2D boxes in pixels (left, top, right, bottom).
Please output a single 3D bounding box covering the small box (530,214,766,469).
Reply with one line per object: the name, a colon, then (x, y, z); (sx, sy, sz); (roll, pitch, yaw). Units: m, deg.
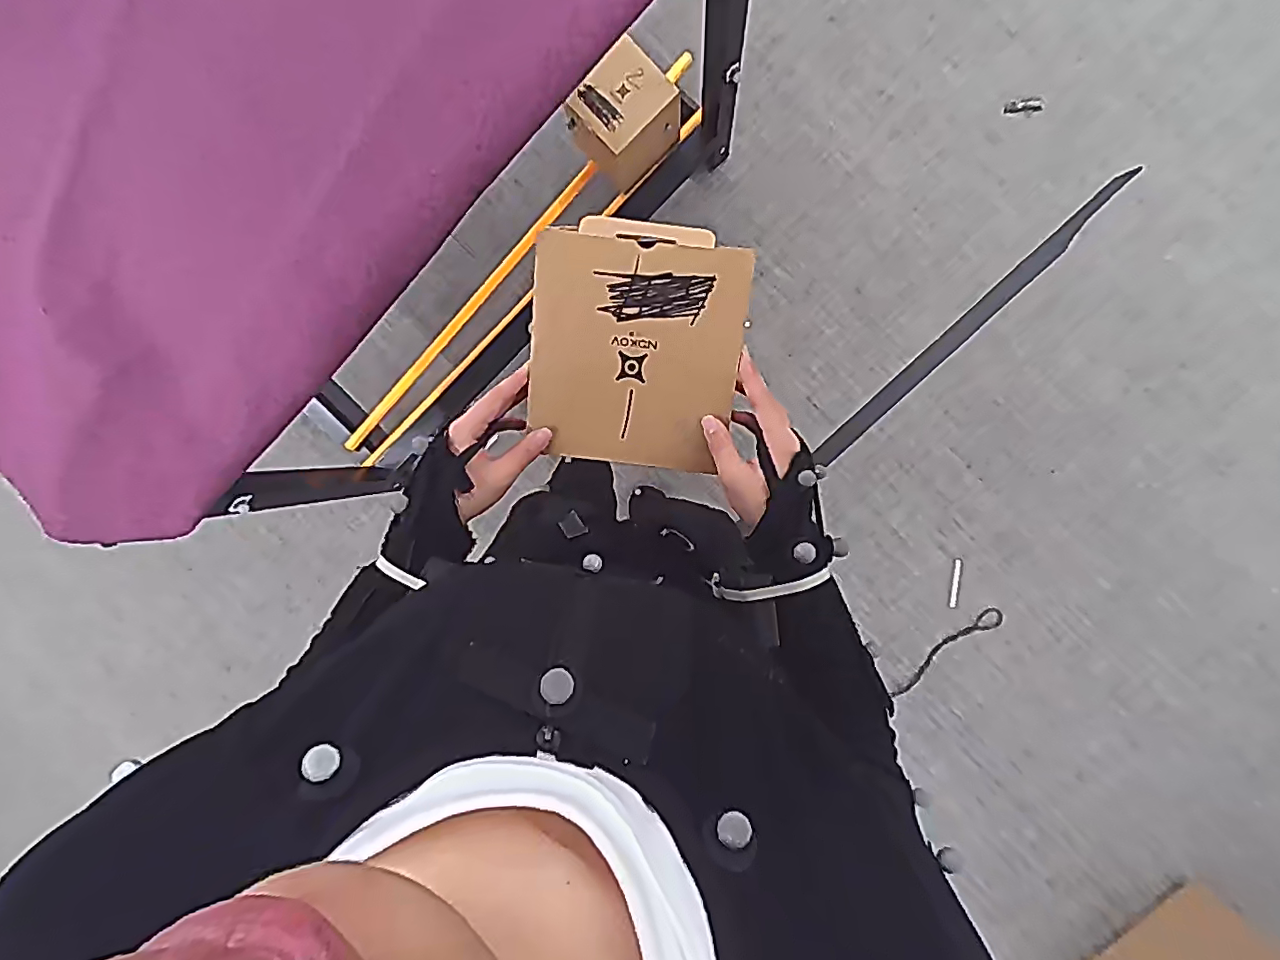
small box: (0.005, -0.120, 0.493); (0.168, 0.176, 0.179); (7, 103, 1)
